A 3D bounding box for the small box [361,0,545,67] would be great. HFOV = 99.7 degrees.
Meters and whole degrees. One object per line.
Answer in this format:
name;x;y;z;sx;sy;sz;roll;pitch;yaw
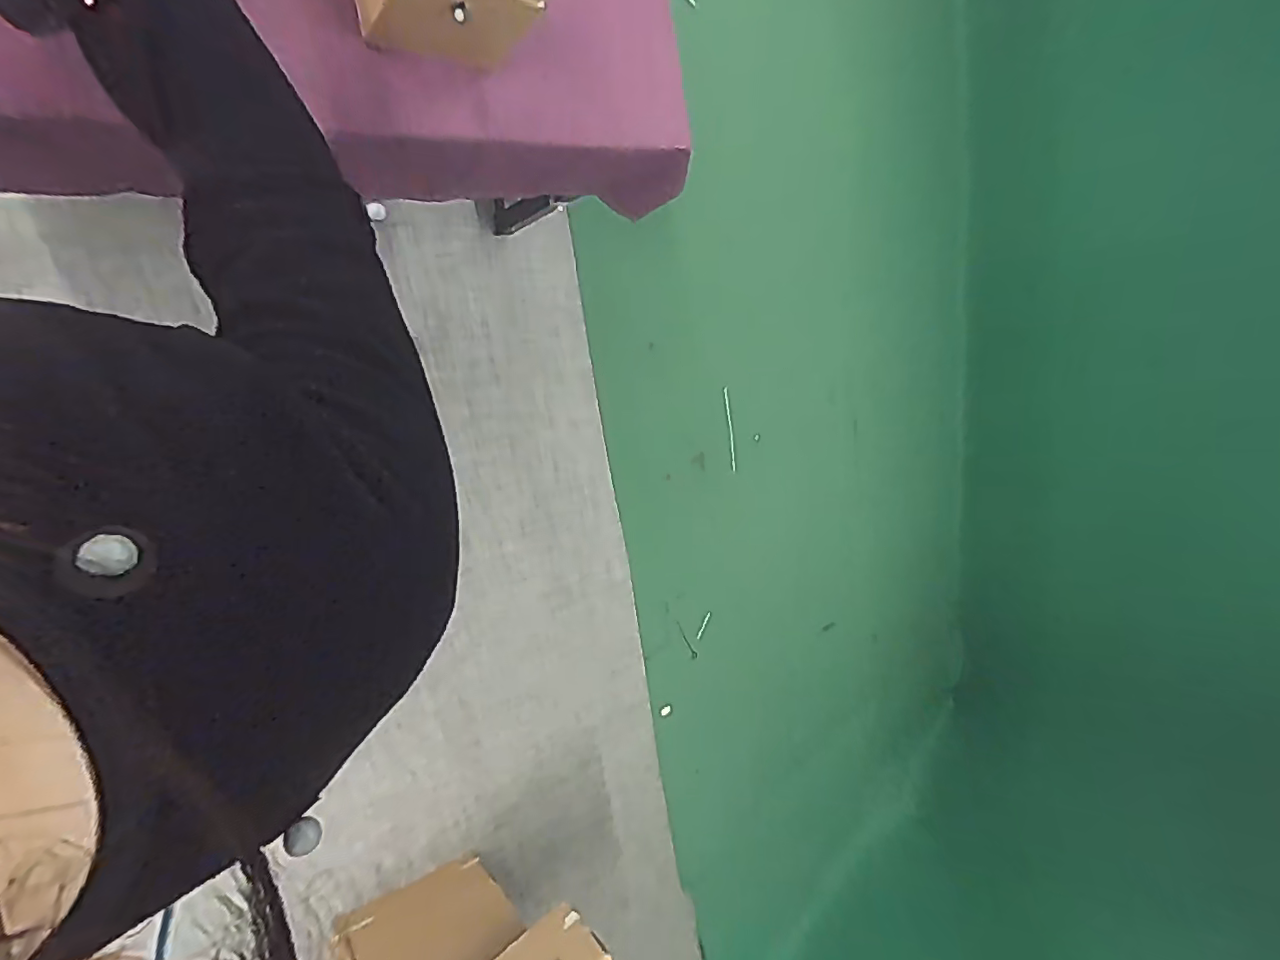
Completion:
small box;-0.241;-0.646;0.657;0.179;0.176;0.168;-17;106;-37
